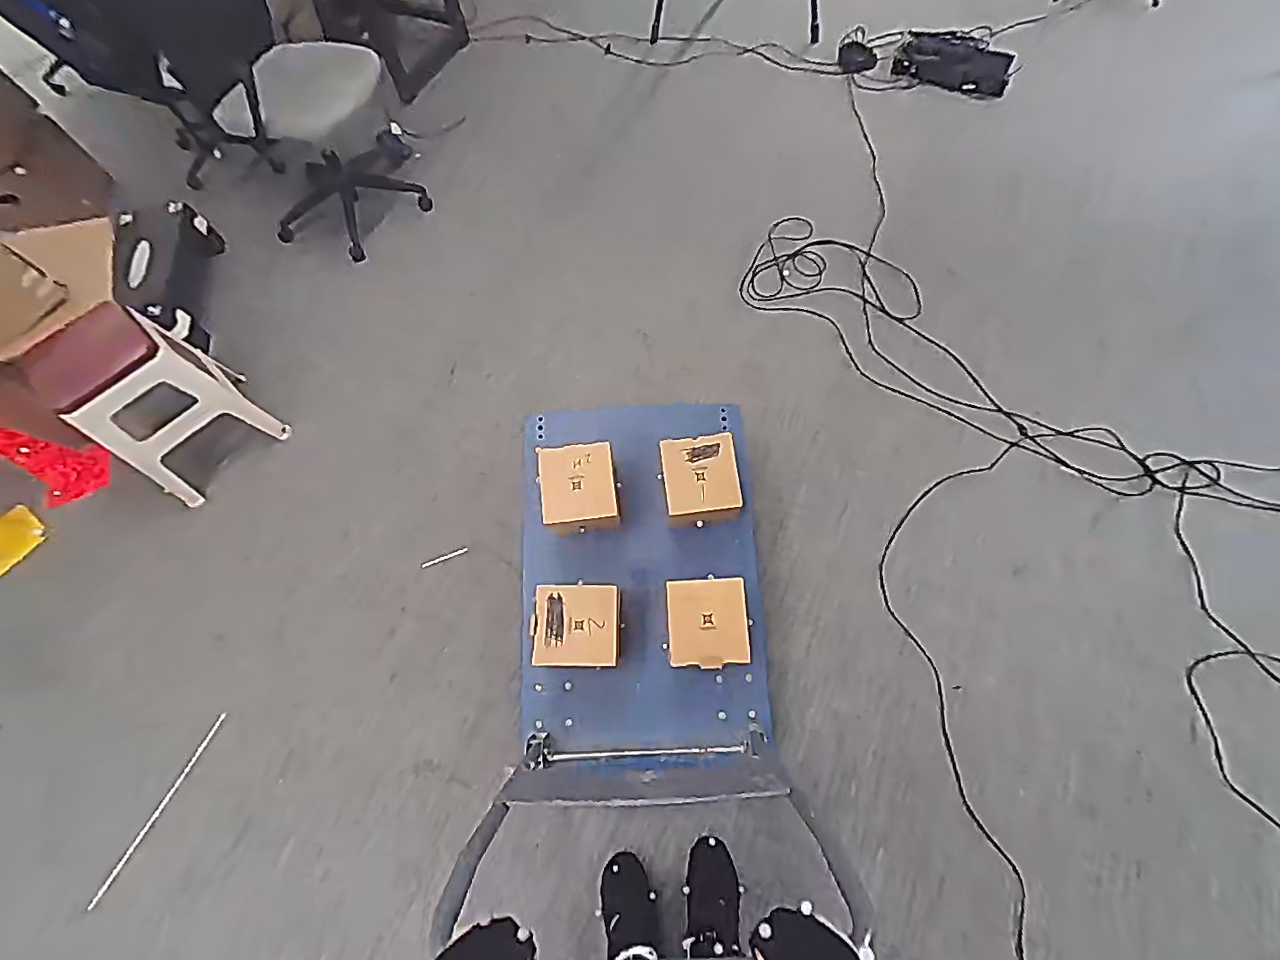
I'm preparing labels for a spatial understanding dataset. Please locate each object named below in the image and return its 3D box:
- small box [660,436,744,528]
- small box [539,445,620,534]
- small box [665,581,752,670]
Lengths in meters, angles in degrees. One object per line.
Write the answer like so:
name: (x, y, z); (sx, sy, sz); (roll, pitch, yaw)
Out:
small box: (0.139, 0.010, 1.271); (0.168, 0.176, 0.179); (-6, 78, -1)
small box: (-0.137, 0.029, 1.269); (0.168, 0.176, 0.179); (-6, 77, -2)
small box: (0.144, 0.320, 1.200); (0.168, 0.176, 0.179); (-3, 77, 0)
